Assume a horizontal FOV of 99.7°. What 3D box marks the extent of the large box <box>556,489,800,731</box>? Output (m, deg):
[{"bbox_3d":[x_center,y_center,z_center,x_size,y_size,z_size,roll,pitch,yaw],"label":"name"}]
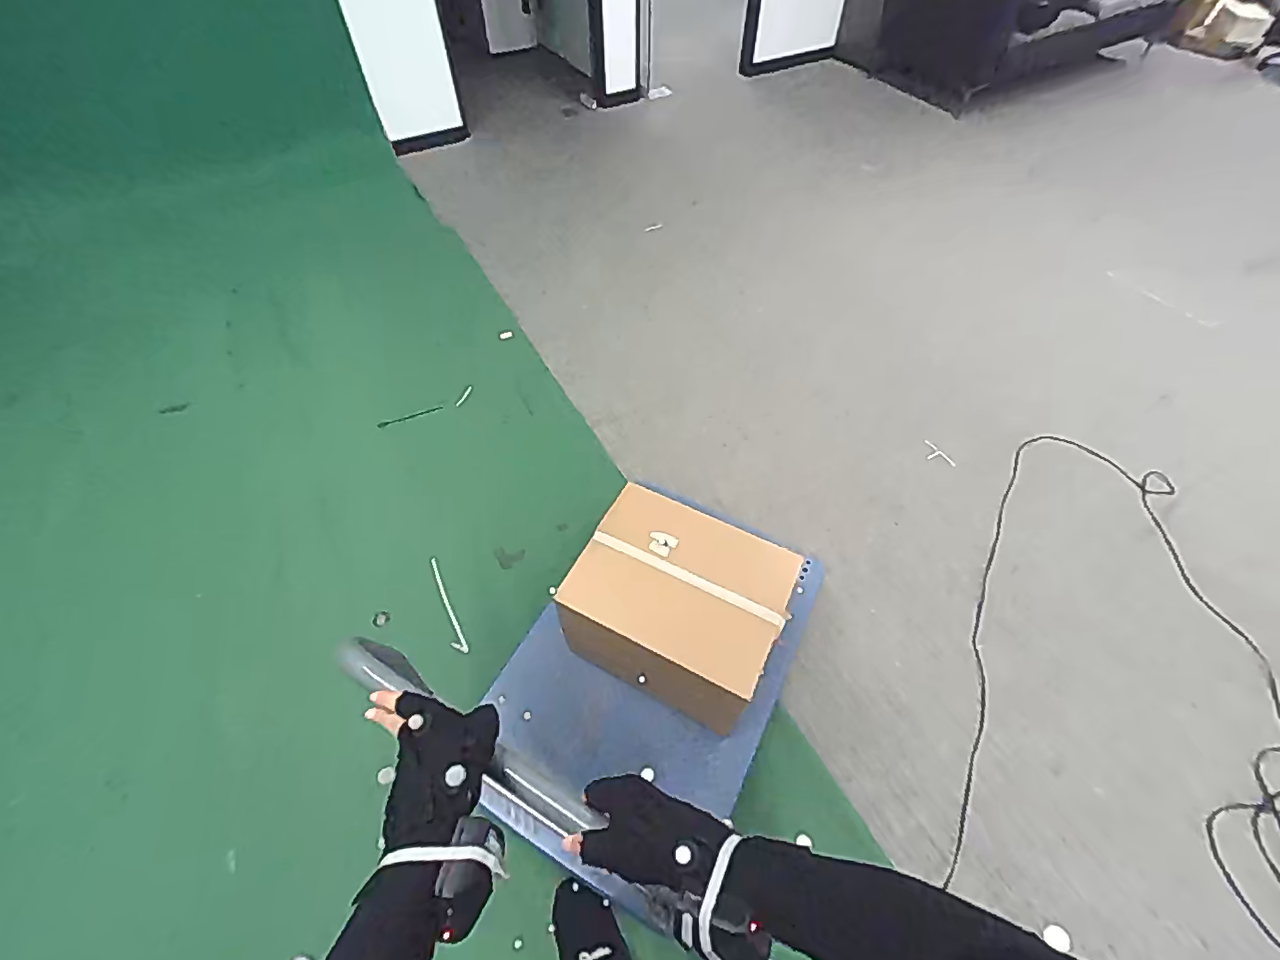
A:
[{"bbox_3d":[0.085,0.287,1.185,0.408,0.320,0.320,23,57,16],"label":"large box"}]
